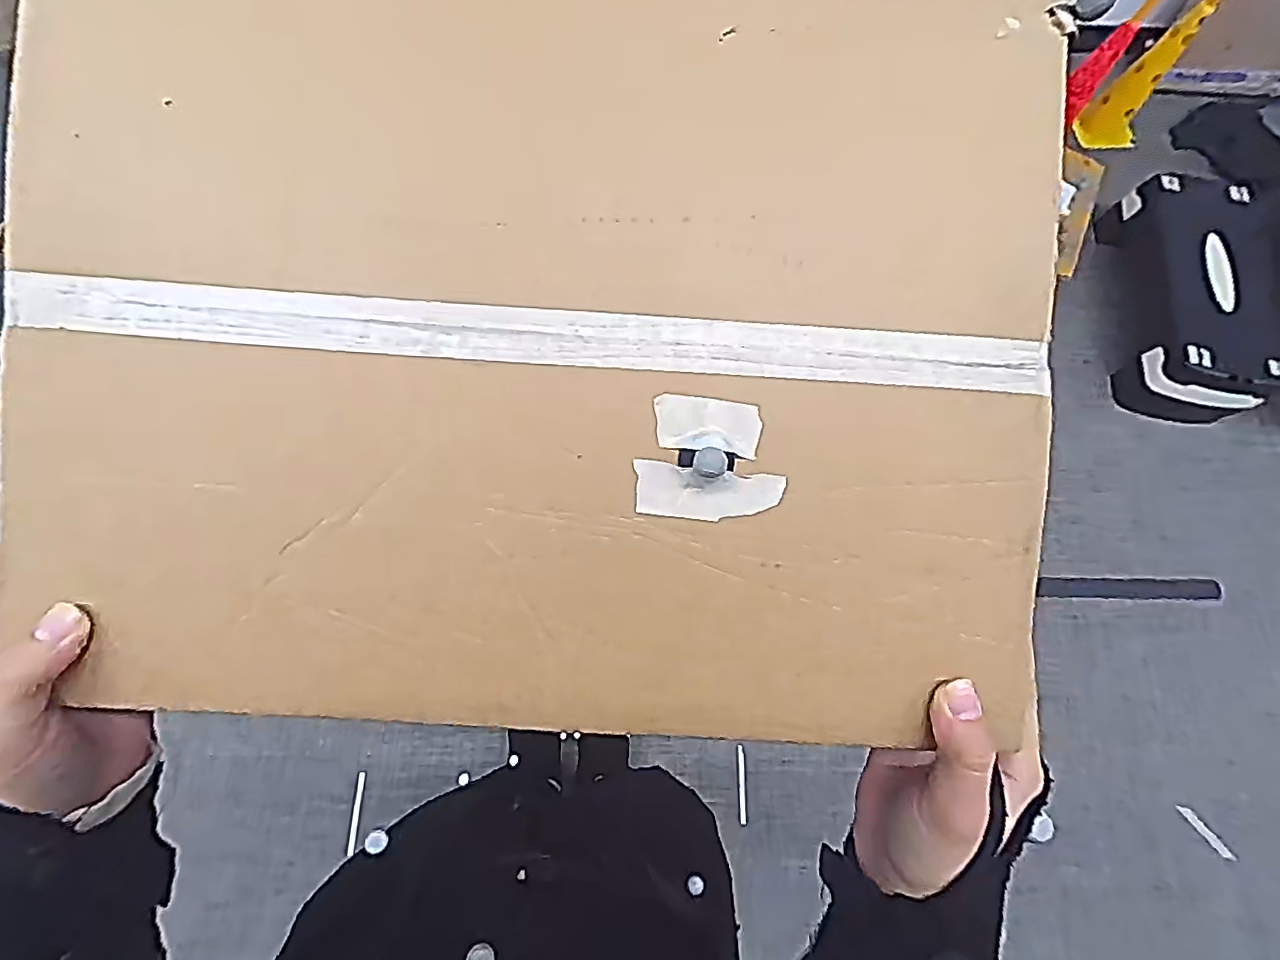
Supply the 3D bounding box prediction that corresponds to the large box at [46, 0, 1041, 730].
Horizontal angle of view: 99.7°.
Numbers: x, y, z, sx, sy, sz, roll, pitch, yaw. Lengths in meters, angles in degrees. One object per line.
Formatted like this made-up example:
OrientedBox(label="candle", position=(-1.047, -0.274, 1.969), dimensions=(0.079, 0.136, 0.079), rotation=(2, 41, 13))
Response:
OrientedBox(label="large box", position=(-0.039, -0.053, 0.374), dimensions=(0.408, 0.320, 0.320), rotation=(4, 91, -3))
